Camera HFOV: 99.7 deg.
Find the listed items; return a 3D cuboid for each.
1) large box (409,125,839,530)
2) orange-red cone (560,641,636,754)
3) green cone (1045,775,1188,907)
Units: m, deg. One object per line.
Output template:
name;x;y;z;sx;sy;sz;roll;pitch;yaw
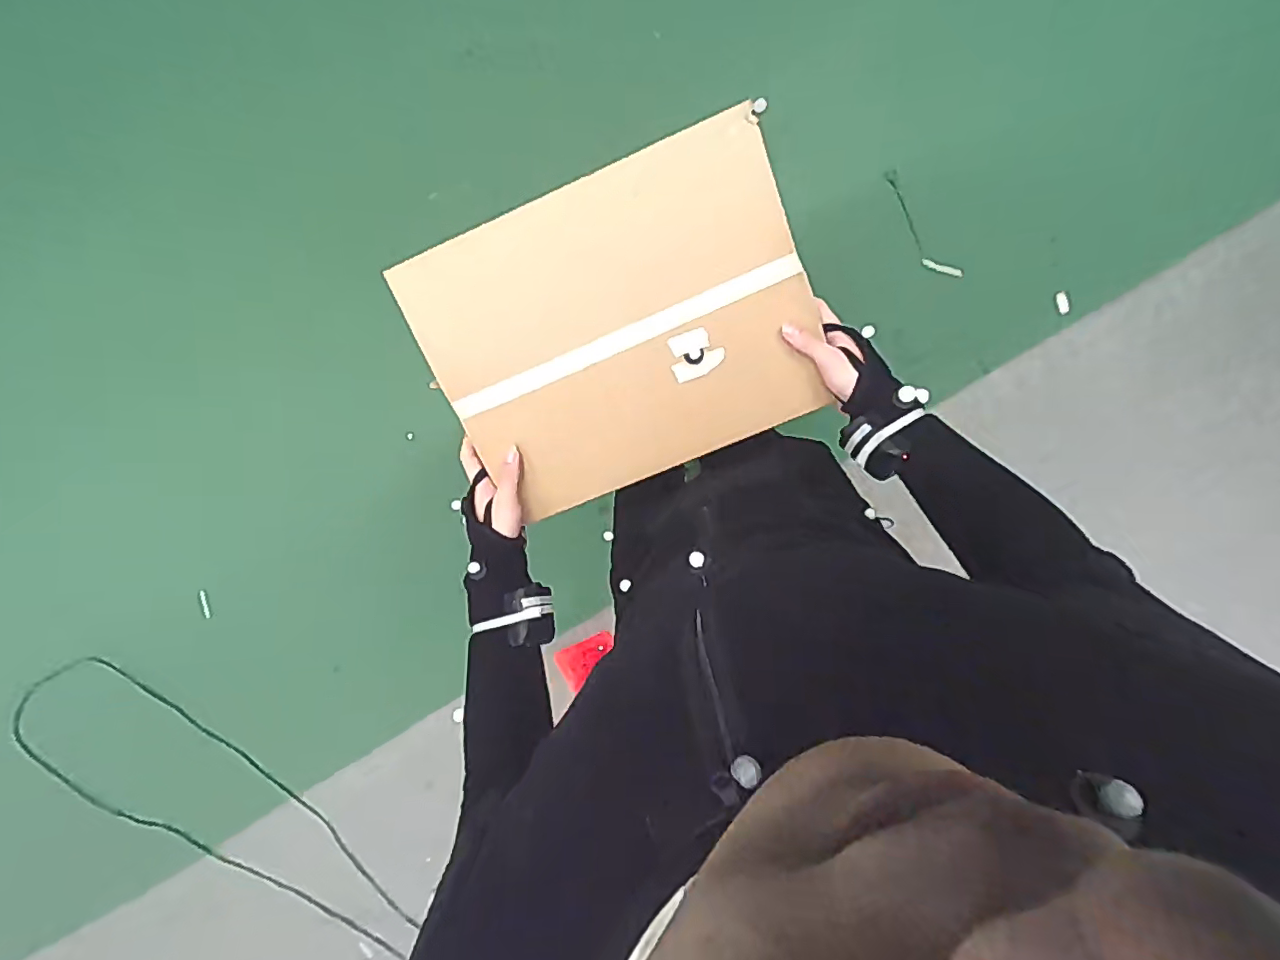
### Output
large box;-0.014;-0.186;0.739;0.408;0.320;0.320;-22;106;5
orange-red cone;-0.131;0.651;1.546;0.199;0.360;0.198;-25;99;4
green cone;1.513;1.151;1.684;0.200;0.368;0.202;-26;98;3
